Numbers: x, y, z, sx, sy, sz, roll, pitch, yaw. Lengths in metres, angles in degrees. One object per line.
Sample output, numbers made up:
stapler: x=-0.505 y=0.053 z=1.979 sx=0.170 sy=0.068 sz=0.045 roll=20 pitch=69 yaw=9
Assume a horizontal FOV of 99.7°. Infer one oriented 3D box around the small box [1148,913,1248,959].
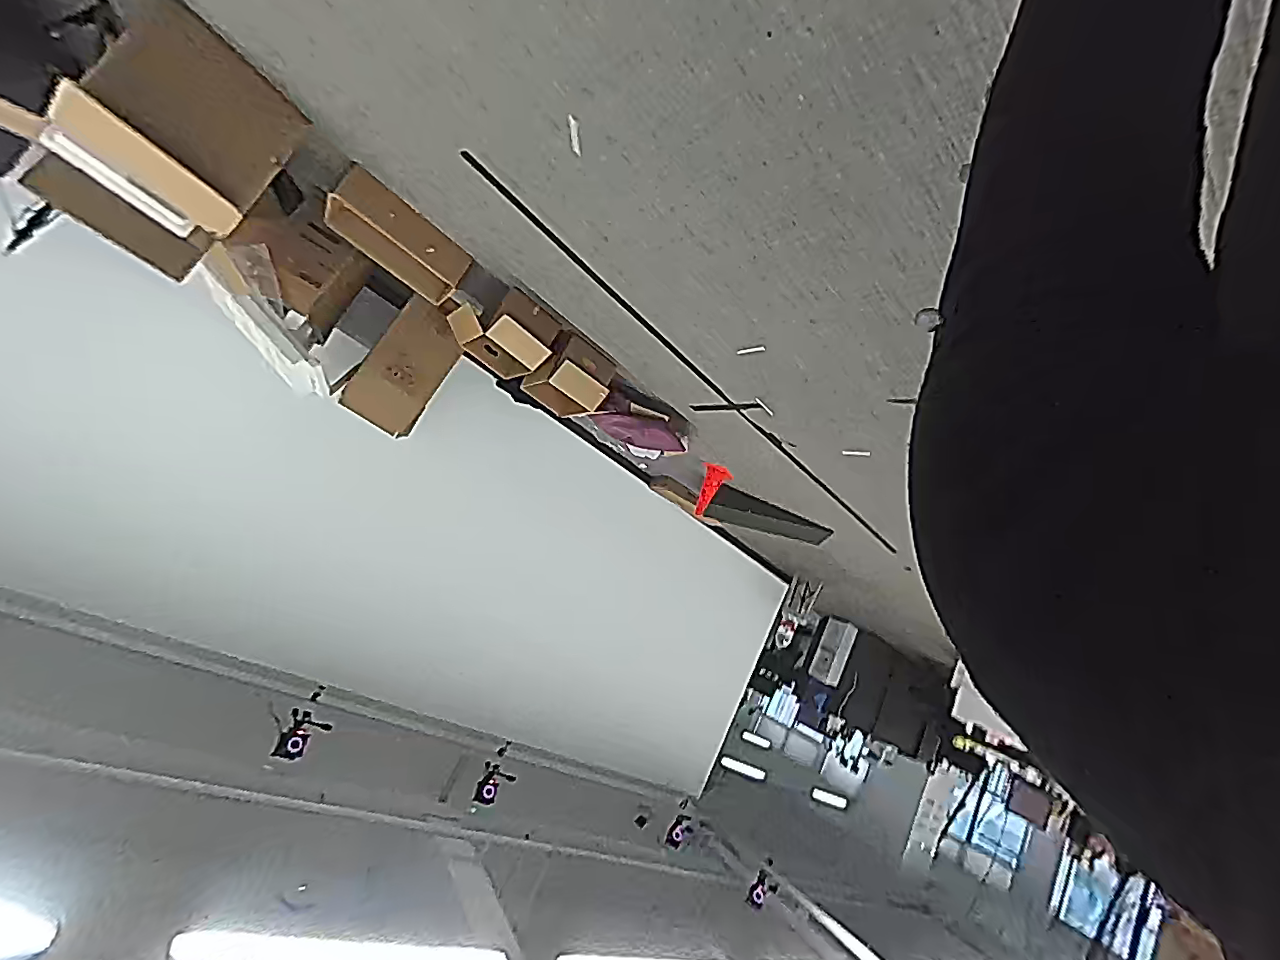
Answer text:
small box: x=1.673 y=1.446 z=1.623 sx=0.179 sy=0.176 sz=0.168 roll=34 pitch=169 yaw=-26
